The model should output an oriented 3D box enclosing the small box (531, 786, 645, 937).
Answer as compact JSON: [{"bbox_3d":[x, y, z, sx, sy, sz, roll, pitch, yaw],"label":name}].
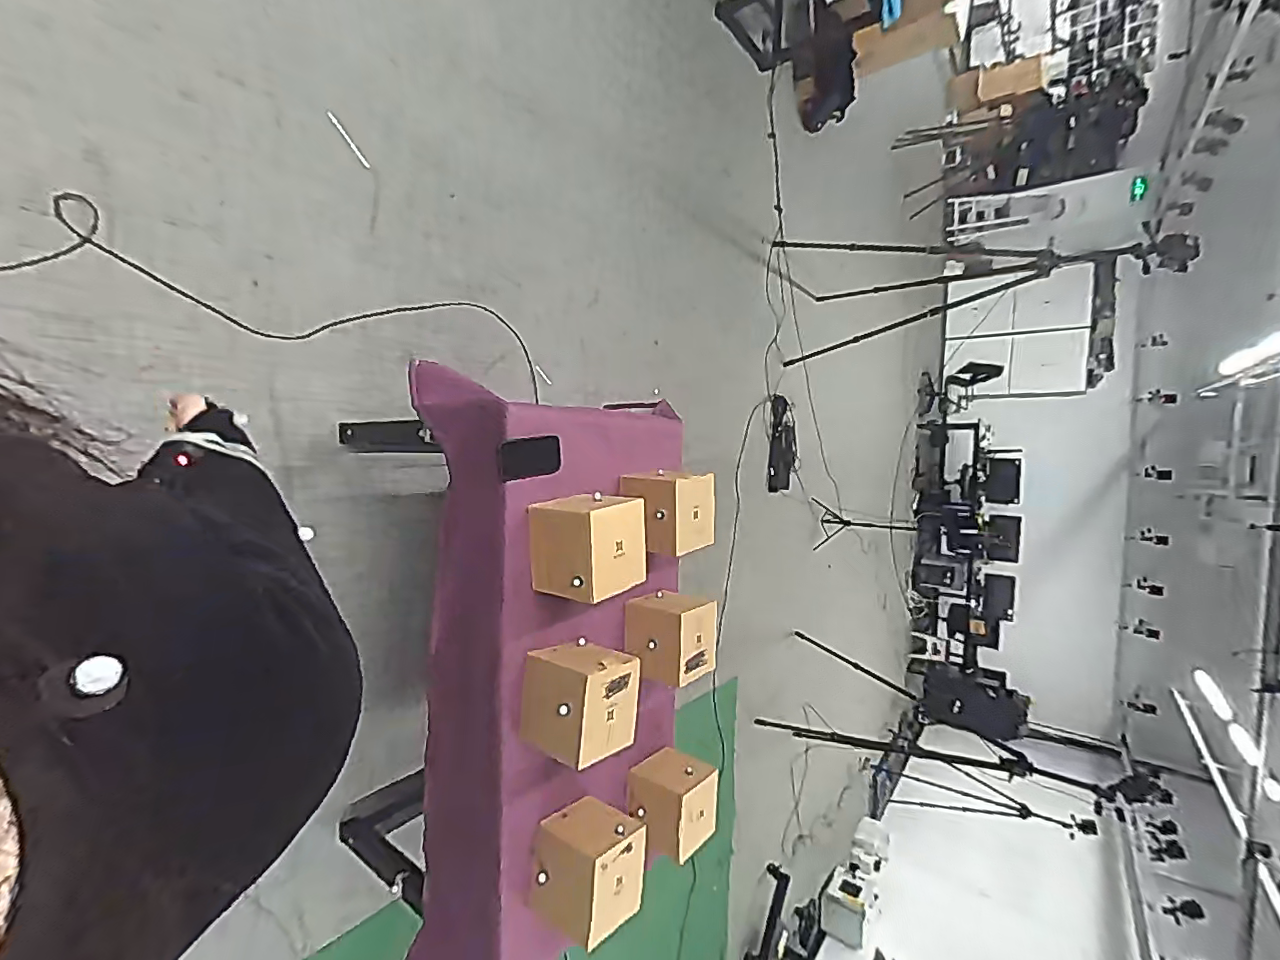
[{"bbox_3d":[-0.112,0.796,1.151,0.168,0.176,0.179,9,86,-53],"label":"small box"}]

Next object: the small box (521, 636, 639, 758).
[{"bbox_3d":[-0.123,0.428,1.104,0.168,0.176,0.179,7,88,-53],"label":"small box"}]

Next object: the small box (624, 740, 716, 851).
[{"bbox_3d":[0.077,0.803,1.401,0.179,0.176,0.168,3,90,-52],"label":"small box"}]

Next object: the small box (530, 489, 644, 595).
[{"bbox_3d":[-0.108,0.115,1.099,0.168,0.176,0.179,-12,104,-52],"label":"small box"}]
